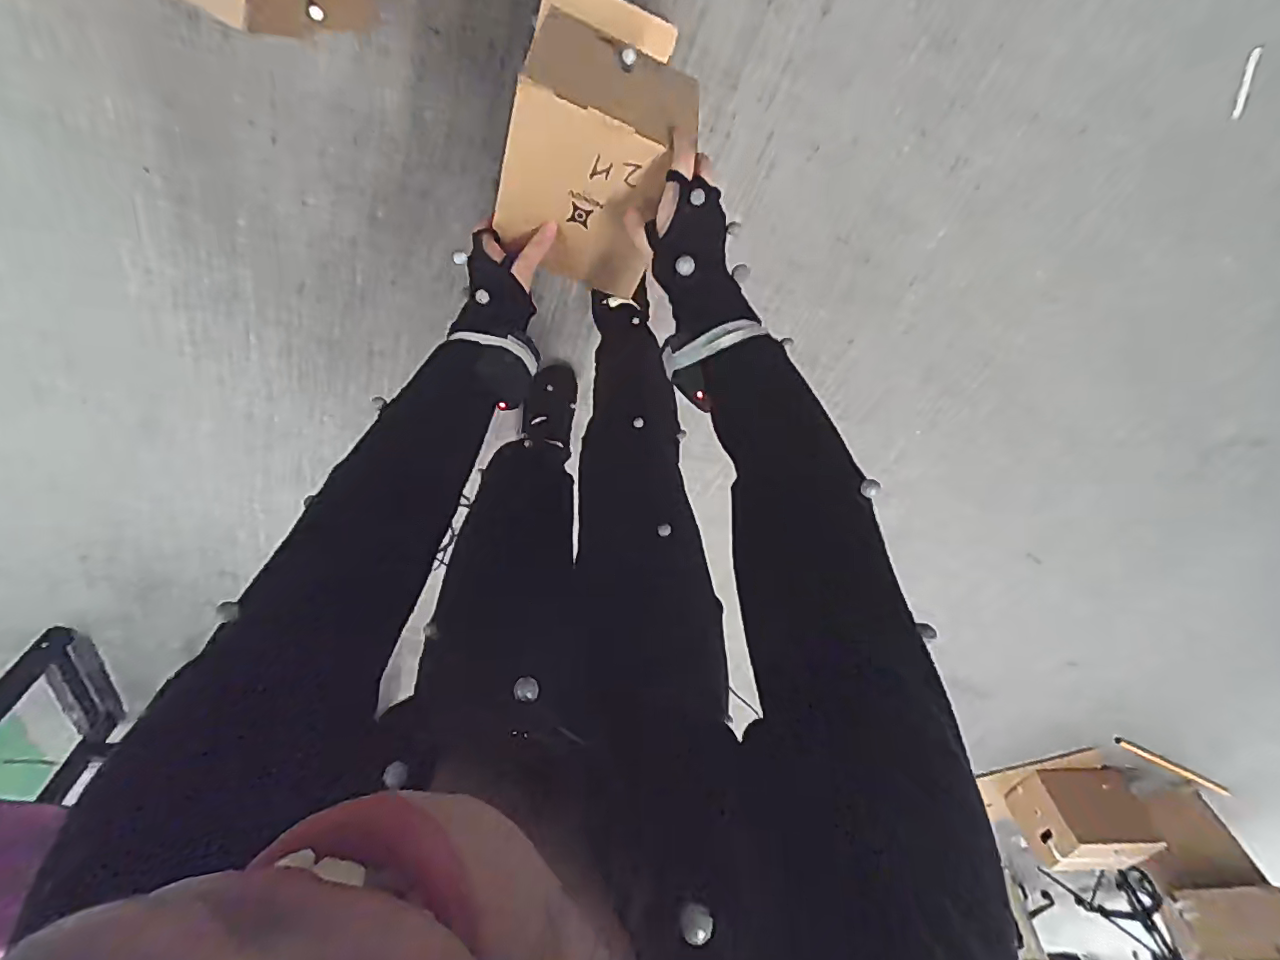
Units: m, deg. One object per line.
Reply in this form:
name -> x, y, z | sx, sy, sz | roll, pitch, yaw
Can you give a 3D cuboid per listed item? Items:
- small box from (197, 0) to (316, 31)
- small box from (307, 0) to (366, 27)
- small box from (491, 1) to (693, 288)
small box -> -0.437, -0.599, 0.545 | 0.179, 0.176, 0.168 | 23, 124, -19
small box -> -0.440, -0.708, 0.669 | 0.179, 0.176, 0.168 | 22, 124, -20
small box -> -0.049, -0.352, 0.583 | 0.168, 0.176, 0.179 | 15, 146, -17
